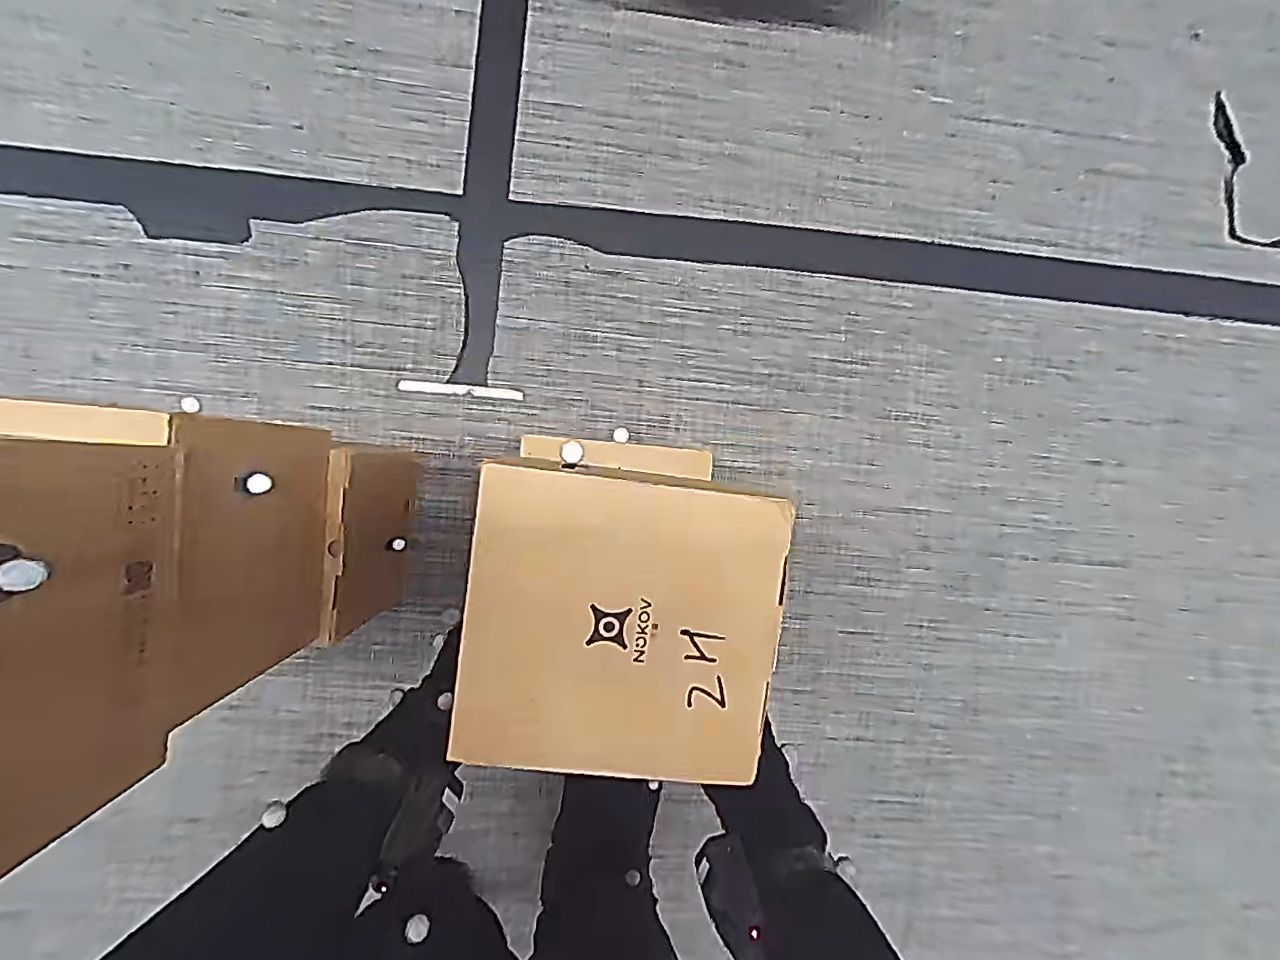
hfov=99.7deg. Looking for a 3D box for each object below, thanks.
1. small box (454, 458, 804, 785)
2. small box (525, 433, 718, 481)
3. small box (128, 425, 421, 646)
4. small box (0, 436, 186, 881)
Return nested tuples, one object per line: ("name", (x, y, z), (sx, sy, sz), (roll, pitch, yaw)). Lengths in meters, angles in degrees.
("small box", (-0.012, 0.077, 0.375), (0.179, 0.176, 0.168), (7, 93, -6))
("small box", (-0.028, 0.050, 0.538), (0.168, 0.176, 0.179), (5, 92, -5))
("small box", (-0.331, 0.043, 0.514), (0.179, 0.176, 0.168), (6, 93, -5))
("small box", (-0.309, 0.063, 0.188), (0.179, 0.176, 0.168), (4, 91, -4))
